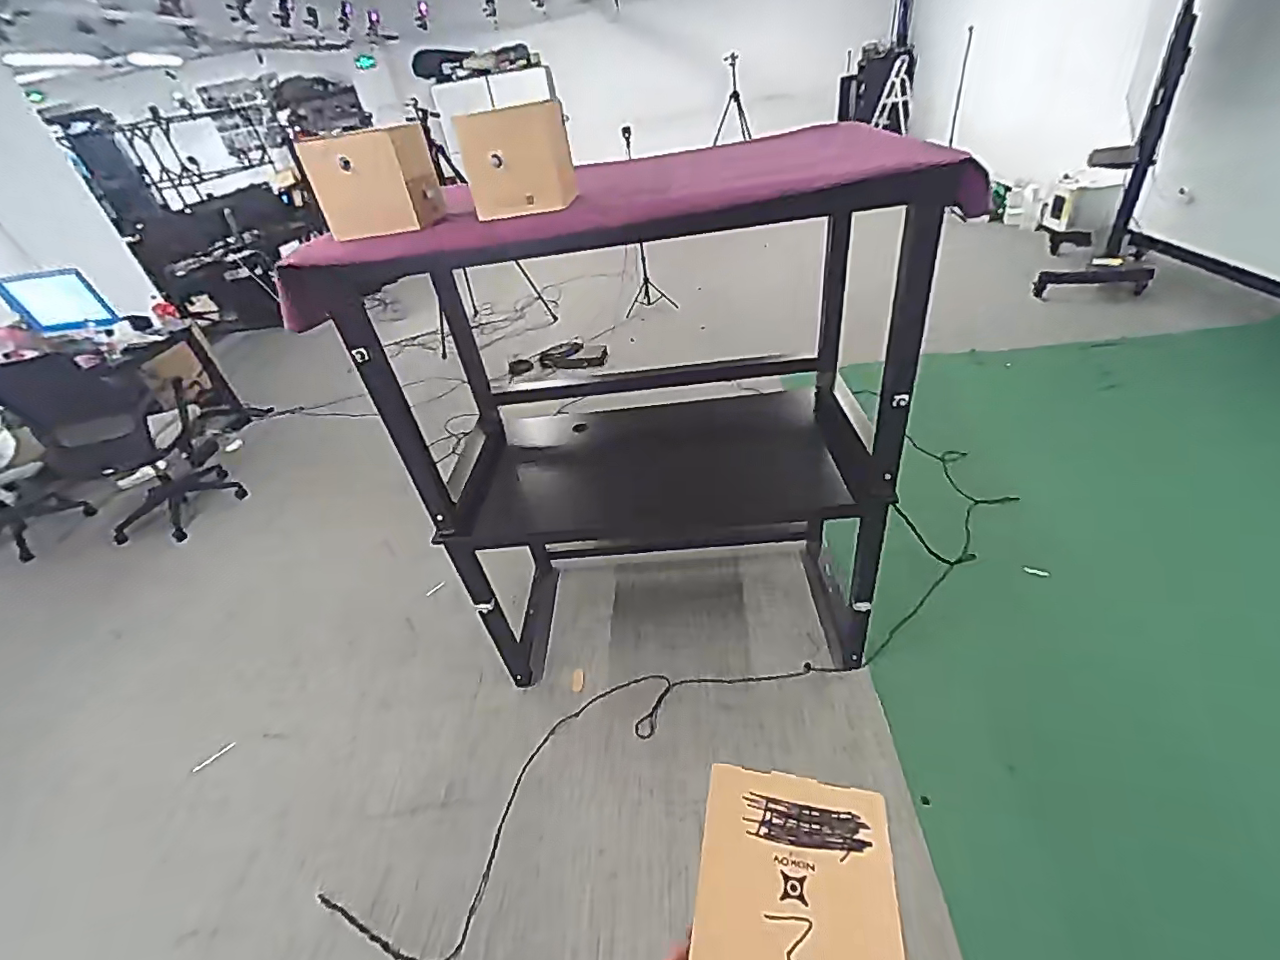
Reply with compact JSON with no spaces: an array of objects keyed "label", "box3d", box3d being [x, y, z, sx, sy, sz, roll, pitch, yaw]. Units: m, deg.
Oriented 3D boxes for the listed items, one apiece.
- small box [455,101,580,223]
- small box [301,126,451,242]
[{"label":"small box","box3d":[-0.216,-0.590,1.011,0.168,0.176,0.179,-5,35,7]},{"label":"small box","box3d":[-0.496,-0.570,1.045,0.179,0.176,0.168,-4,36,6]}]
